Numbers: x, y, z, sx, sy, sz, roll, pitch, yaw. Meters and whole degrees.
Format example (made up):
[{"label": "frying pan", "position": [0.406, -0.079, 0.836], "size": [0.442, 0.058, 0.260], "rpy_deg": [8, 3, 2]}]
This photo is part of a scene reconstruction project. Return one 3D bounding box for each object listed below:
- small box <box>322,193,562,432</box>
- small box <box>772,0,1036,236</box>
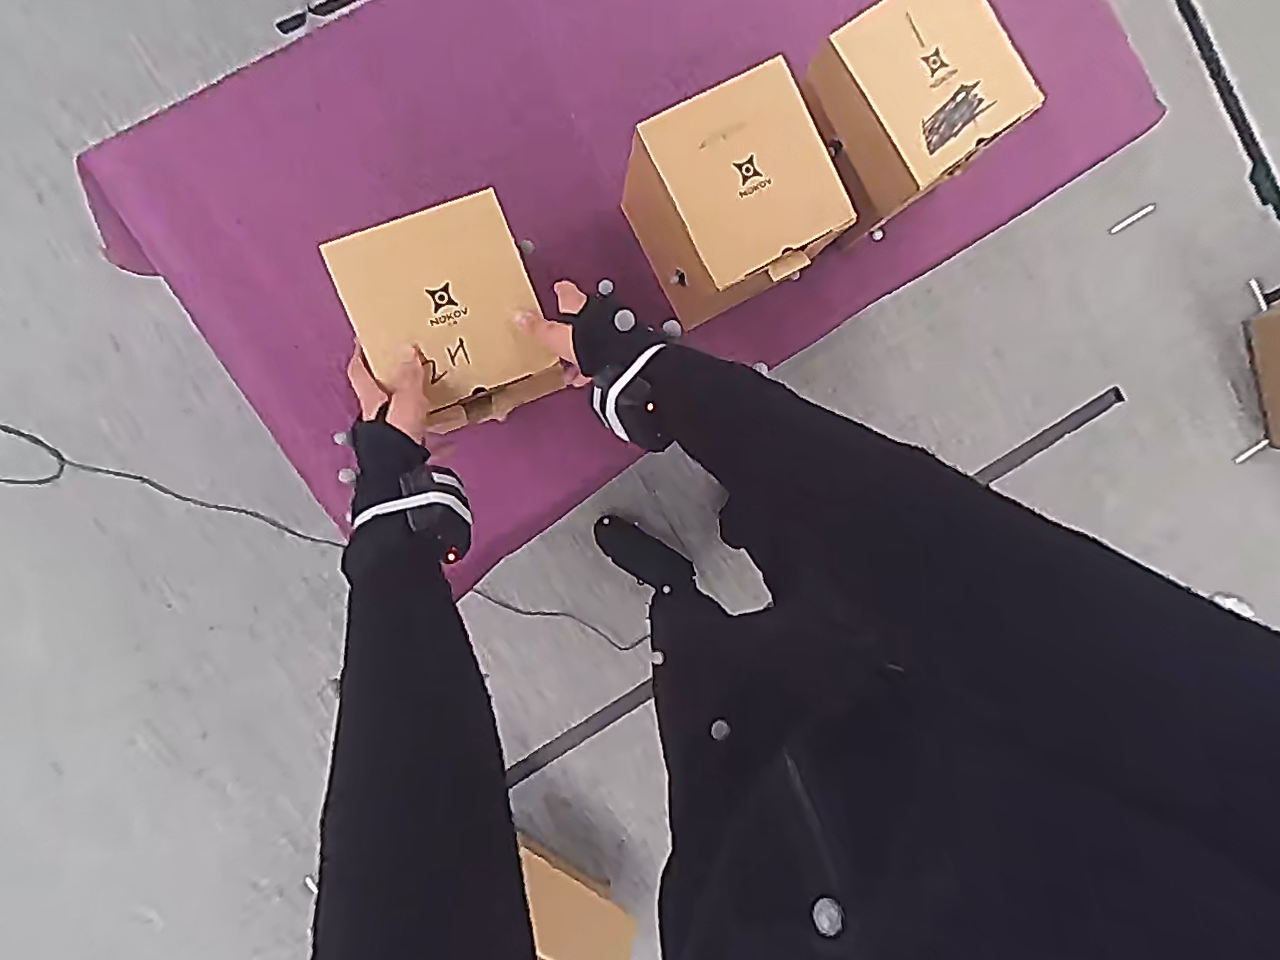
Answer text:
[{"label": "small box", "position": [-0.190, -0.160, 0.574], "size": [0.168, 0.176, 0.179], "rpy_deg": [-22, 95, -5]}, {"label": "small box", "position": [0.284, -0.410, 0.619], "size": [0.168, 0.176, 0.179], "rpy_deg": [-36, 95, -4]}]
